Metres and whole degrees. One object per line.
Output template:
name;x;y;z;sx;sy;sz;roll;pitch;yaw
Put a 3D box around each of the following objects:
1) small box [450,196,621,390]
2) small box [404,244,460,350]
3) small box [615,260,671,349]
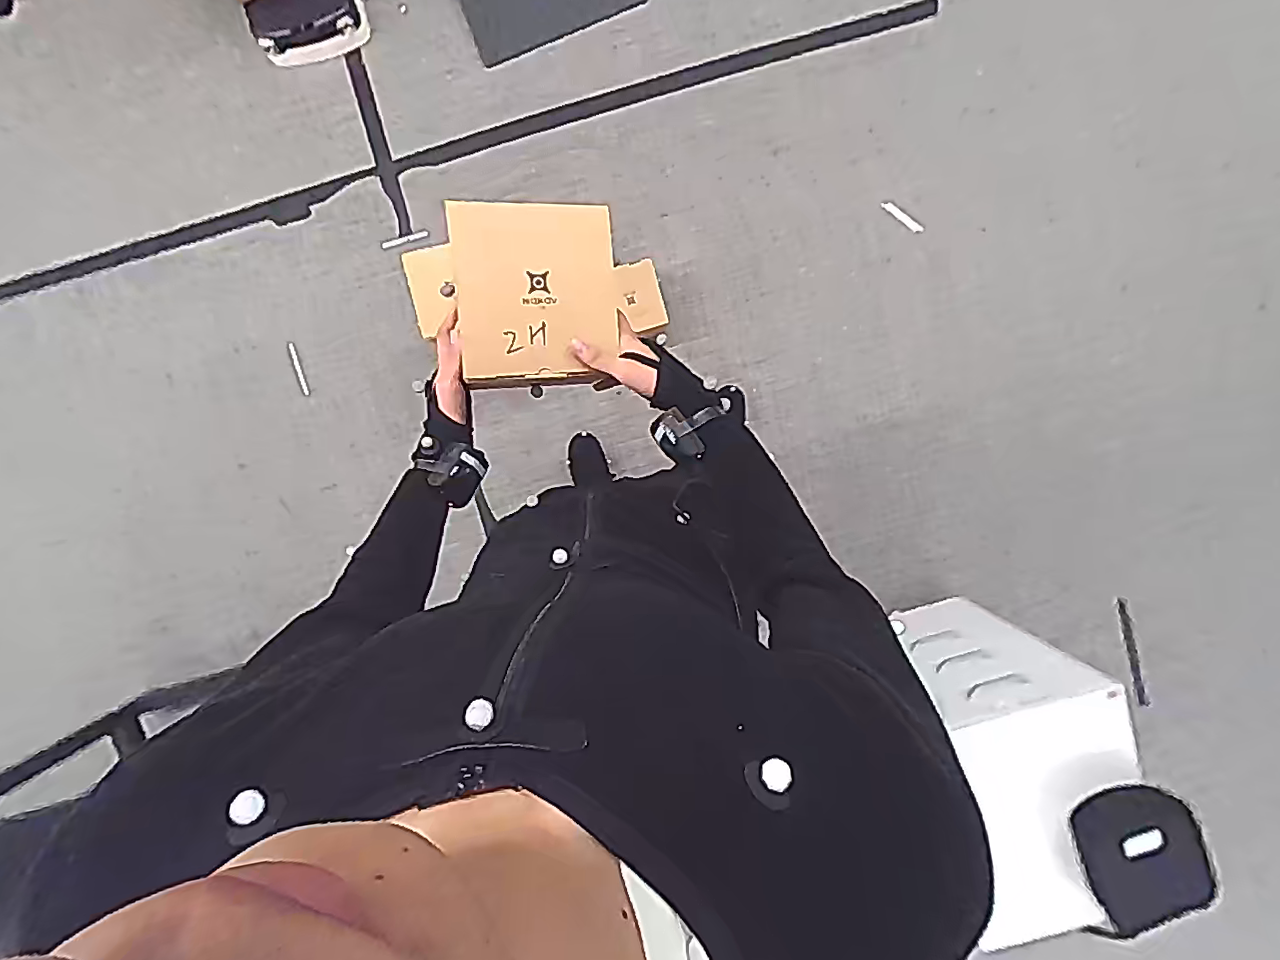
small box;-0.126;-0.201;0.626;0.168;0.176;0.179;-6;97;-16
small box;-0.377;-0.392;1.165;0.168;0.176;0.179;-13;97;0
small box;-0.019;-0.476;1.490;0.168;0.176;0.179;-16;97;3
